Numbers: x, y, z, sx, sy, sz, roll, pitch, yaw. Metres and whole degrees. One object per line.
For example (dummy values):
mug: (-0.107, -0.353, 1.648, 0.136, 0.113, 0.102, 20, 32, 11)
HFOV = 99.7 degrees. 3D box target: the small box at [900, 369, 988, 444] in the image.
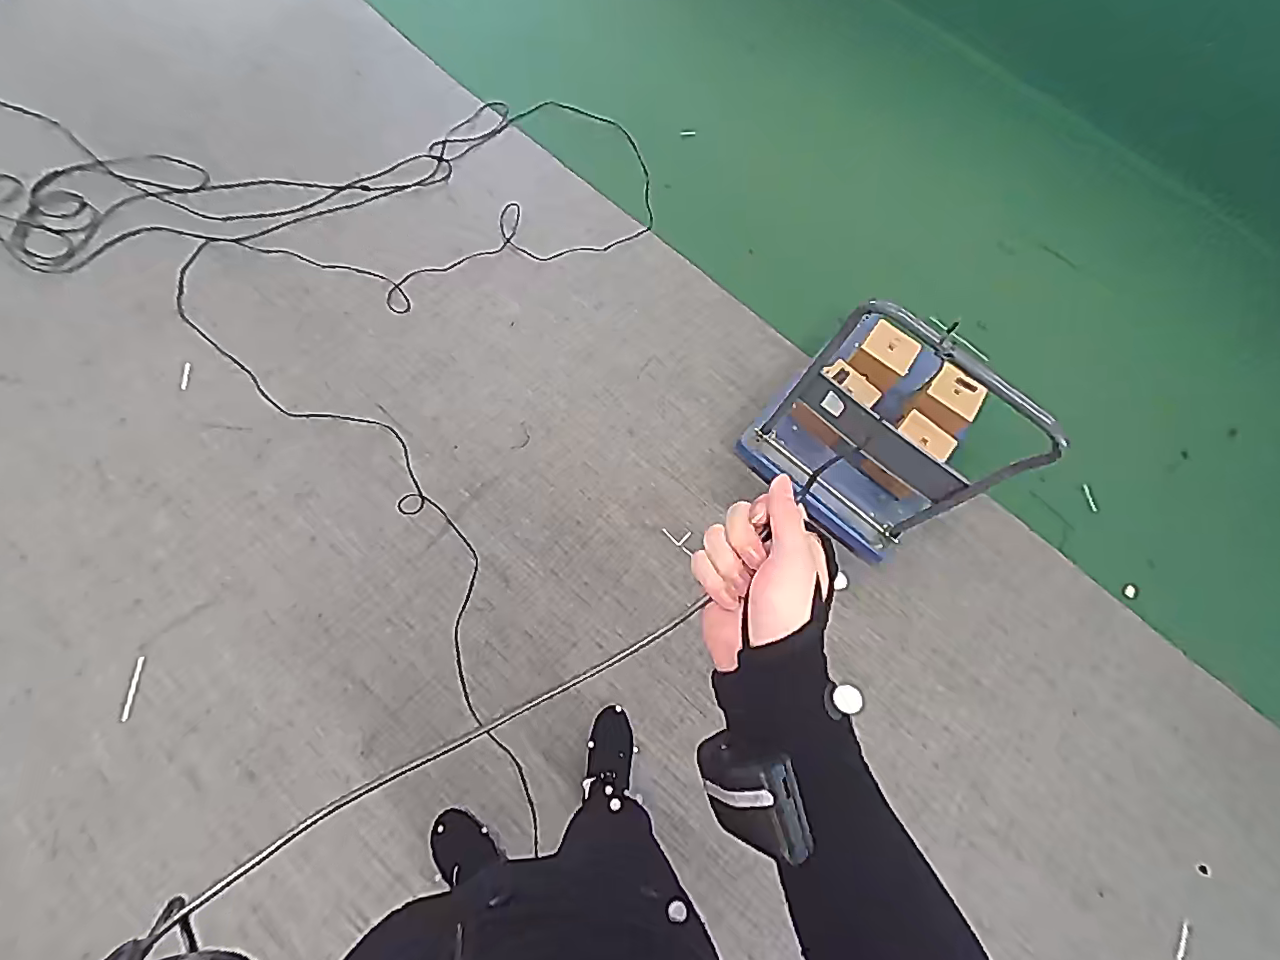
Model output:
small box: (1.008, -0.229, 1.805, 0.168, 0.176, 0.179, 37, 63, 9)

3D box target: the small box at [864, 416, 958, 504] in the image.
small box: (0.836, -0.059, 1.684, 0.168, 0.176, 0.179, 41, 64, 10)

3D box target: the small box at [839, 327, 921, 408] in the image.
small box: (0.808, -0.377, 1.839, 0.168, 0.176, 0.179, 37, 62, 7)
